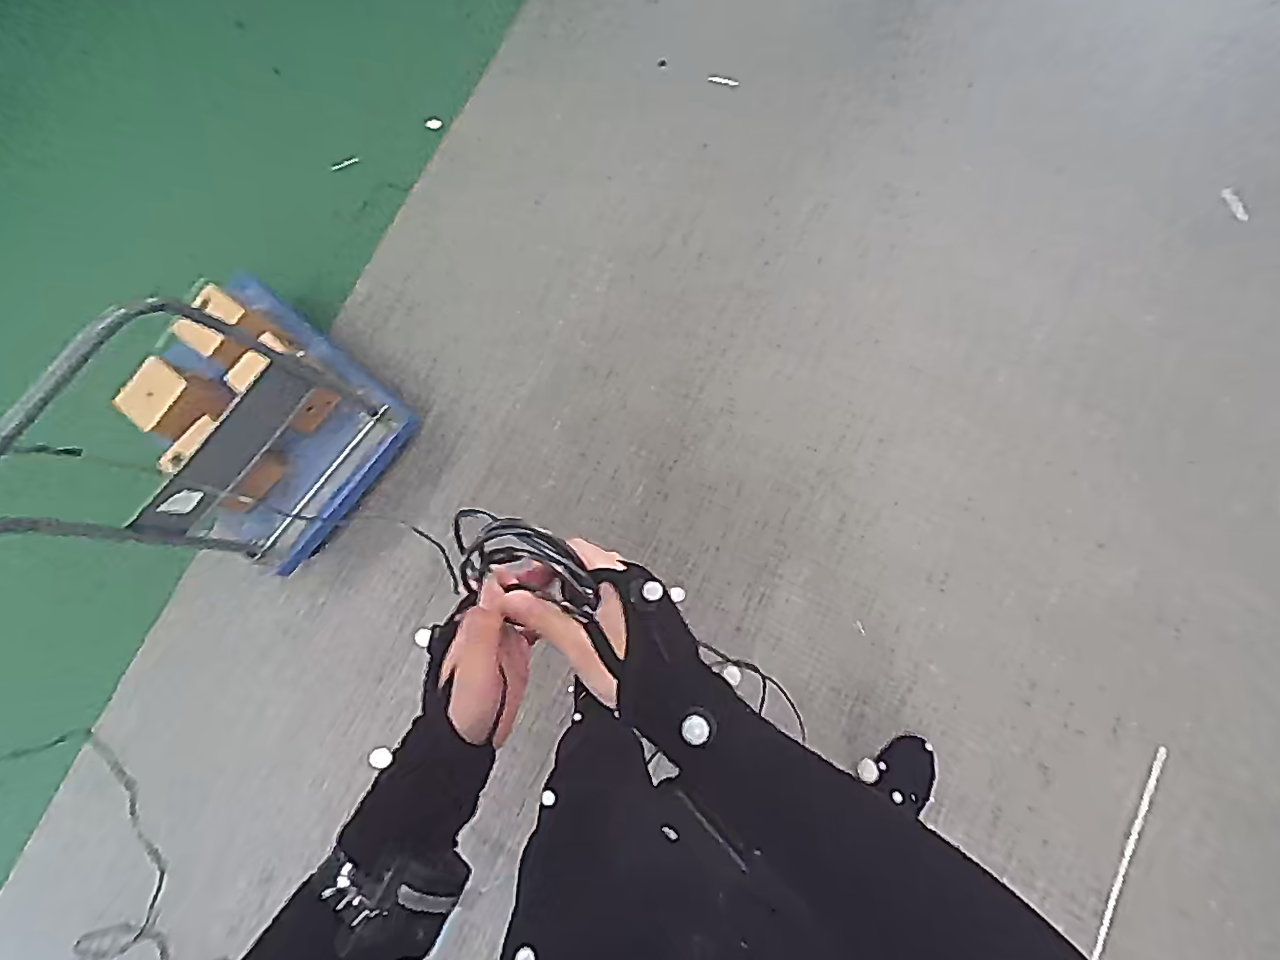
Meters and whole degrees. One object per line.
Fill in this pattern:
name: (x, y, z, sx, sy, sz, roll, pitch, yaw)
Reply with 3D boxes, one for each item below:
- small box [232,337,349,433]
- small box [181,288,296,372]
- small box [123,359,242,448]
small box: (-0.961, -0.256, 1.500, 0.179, 0.176, 0.168, 39, 87, 17)
small box: (-1.165, -0.416, 1.578, 0.179, 0.176, 0.168, 34, 87, 16)
small box: (-1.309, -0.211, 1.561, 0.179, 0.176, 0.168, 34, 85, 17)
